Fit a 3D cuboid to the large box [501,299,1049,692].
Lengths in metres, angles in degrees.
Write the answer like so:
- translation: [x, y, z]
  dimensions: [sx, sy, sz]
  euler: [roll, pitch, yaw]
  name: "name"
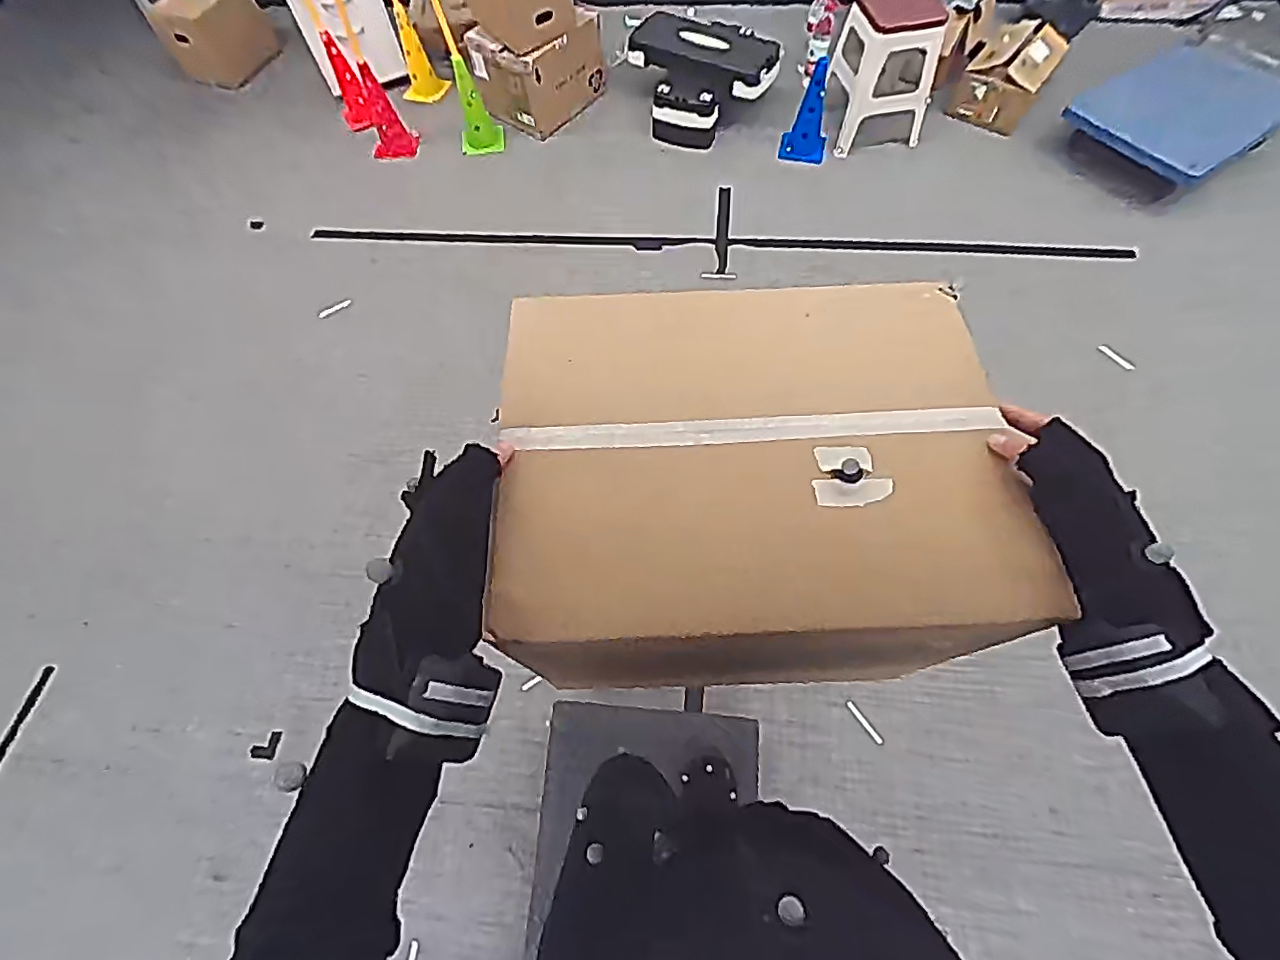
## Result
- translation: [0.090, 0.038, 0.583]
  dimensions: [0.408, 0.320, 0.320]
  euler: [-2, 63, 0]
  name: "large box"
